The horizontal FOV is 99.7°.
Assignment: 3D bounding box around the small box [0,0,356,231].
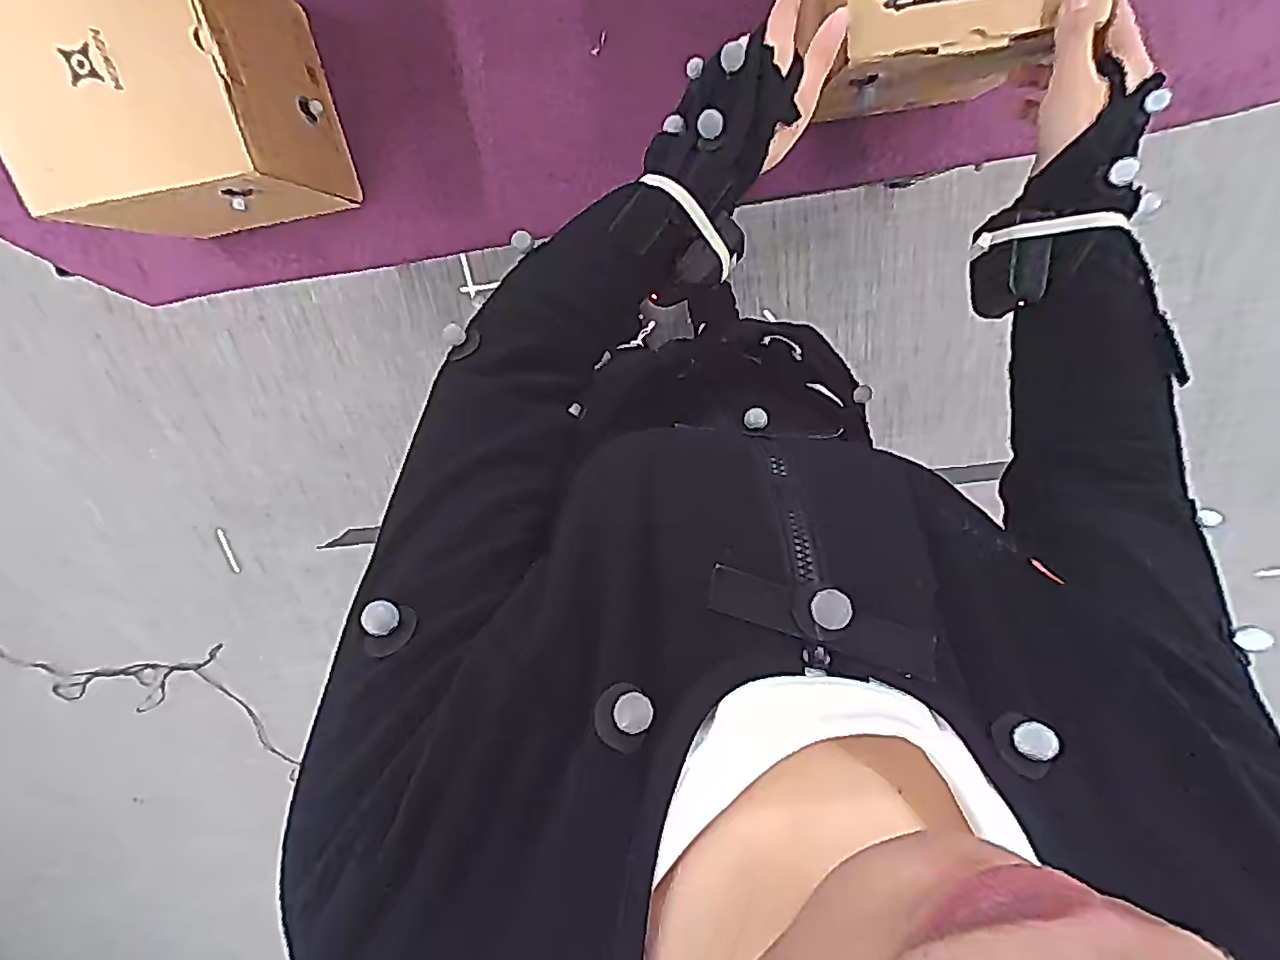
[{"bbox_3d":[-0.380,-0.315,0.449,0.179,0.176,0.168,-11,110,2],"label":"small box"}]
